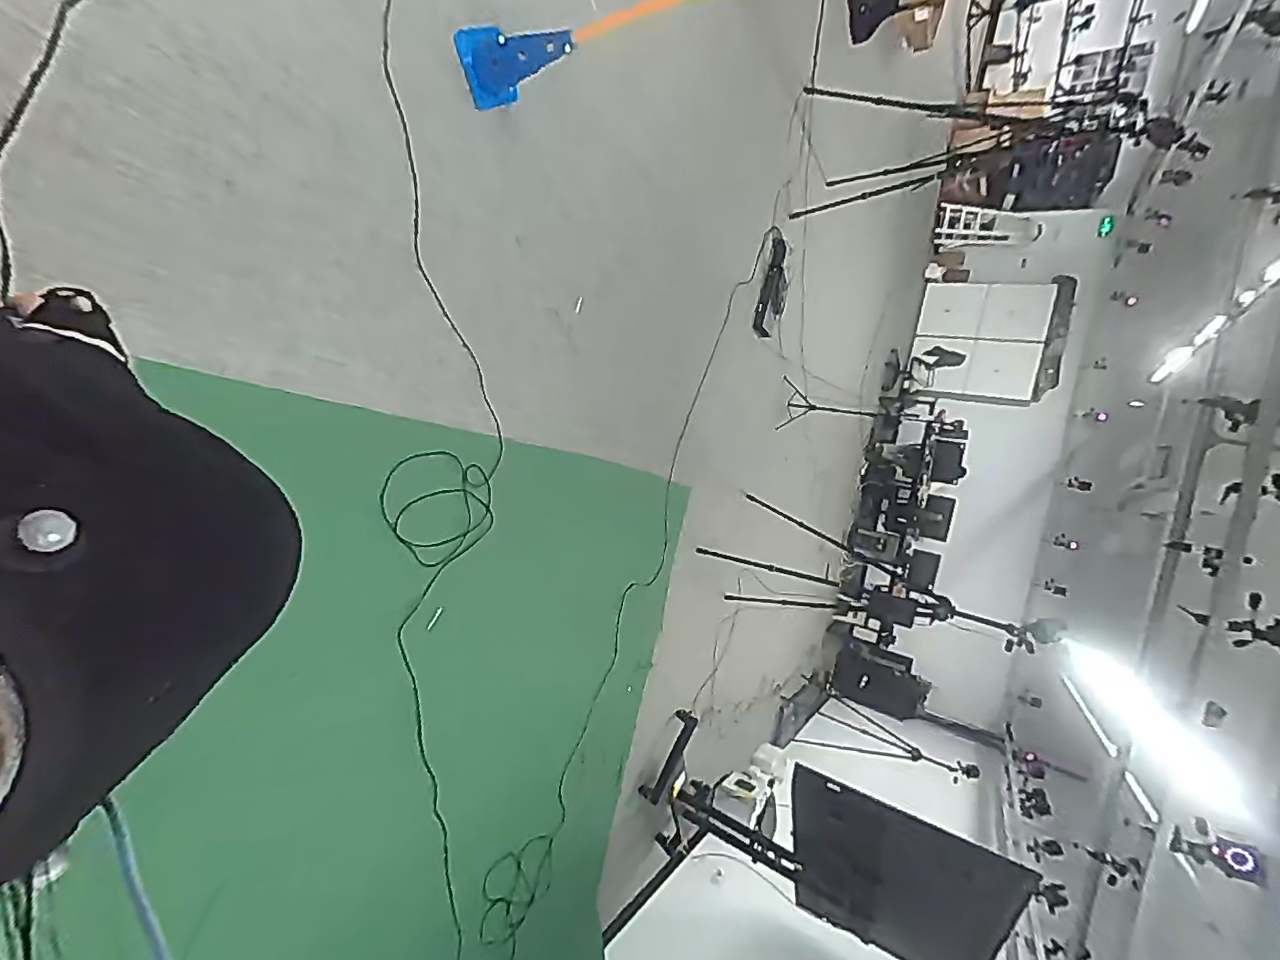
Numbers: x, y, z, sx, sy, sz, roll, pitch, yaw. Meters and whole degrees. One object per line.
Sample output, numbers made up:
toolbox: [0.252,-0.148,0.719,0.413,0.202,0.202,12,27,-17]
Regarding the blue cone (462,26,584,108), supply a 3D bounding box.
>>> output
blue cone: [-0.325,-1.263,1.598,0.193,0.380,0.192,-52,139,-37]
